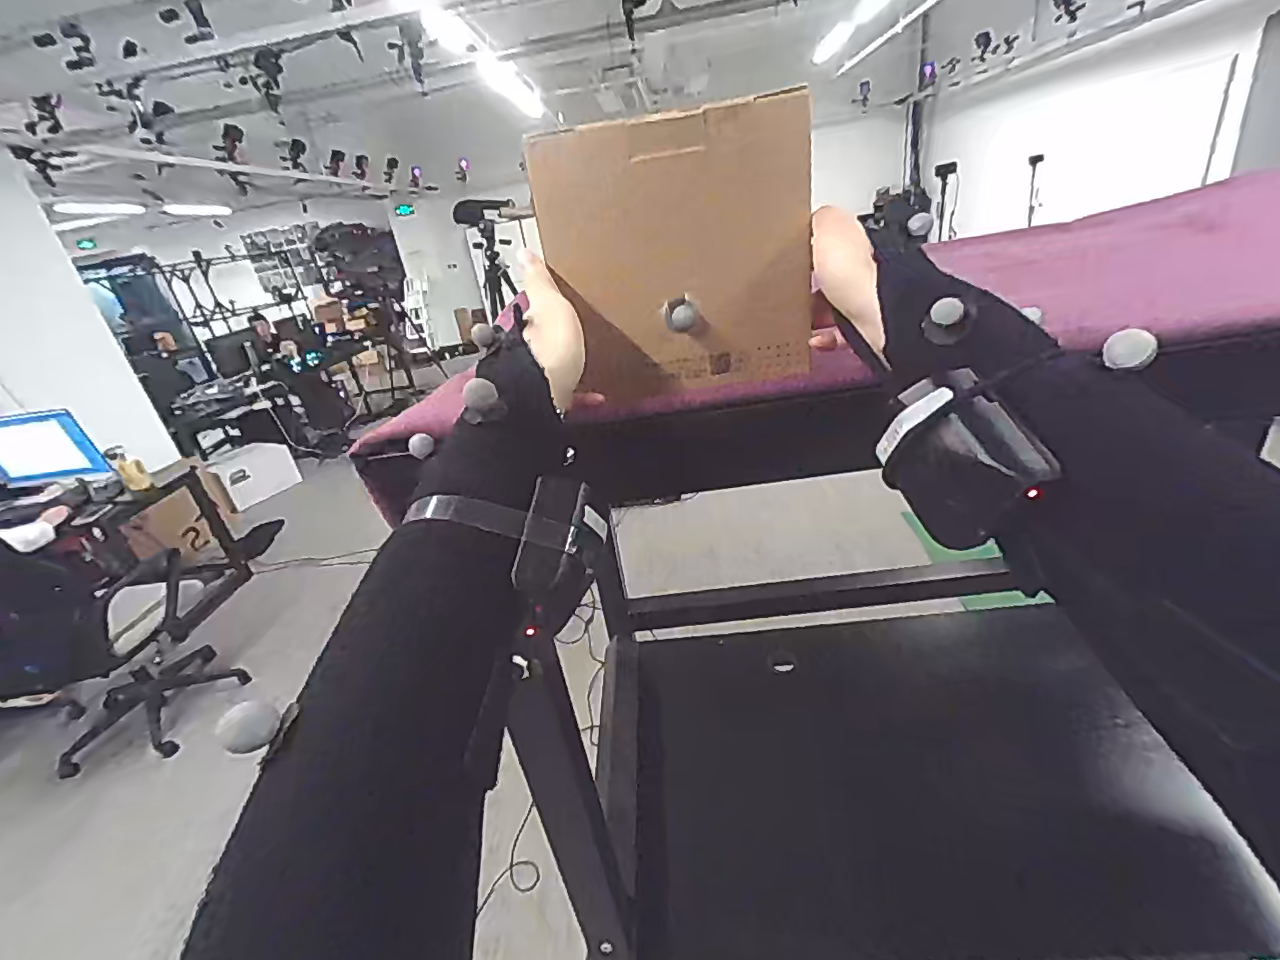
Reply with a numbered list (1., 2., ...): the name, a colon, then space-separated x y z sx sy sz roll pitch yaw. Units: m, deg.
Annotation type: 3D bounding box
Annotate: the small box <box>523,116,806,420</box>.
1. small box: 0.025 -0.158 0.417 0.168 0.176 0.179 -7 27 5
